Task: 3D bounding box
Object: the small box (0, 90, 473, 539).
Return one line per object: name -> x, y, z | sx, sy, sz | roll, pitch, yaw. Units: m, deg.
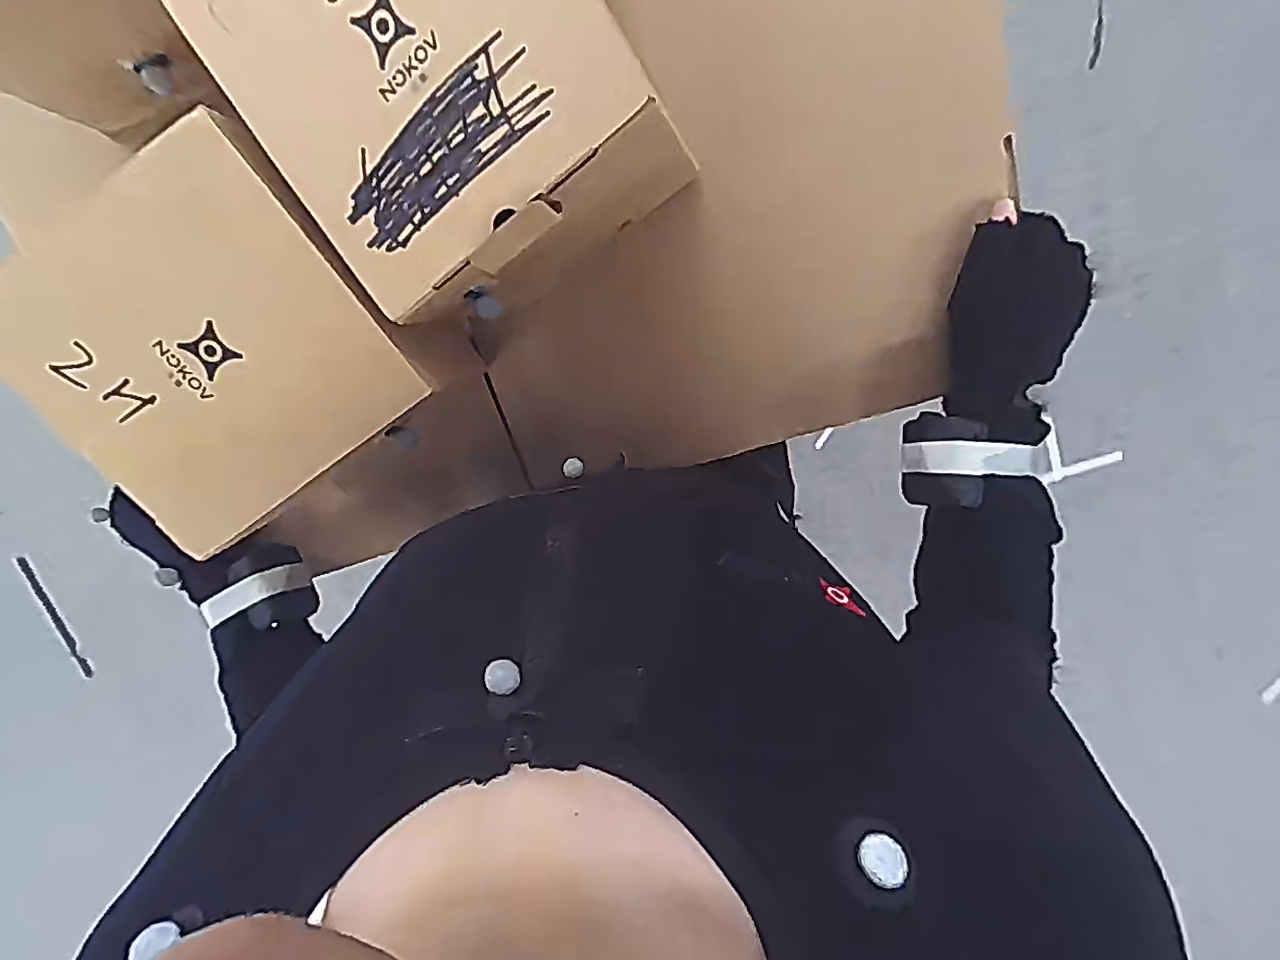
small box -> -0.232, -0.097, 0.359 | 0.179, 0.176, 0.168 | -34, 105, 5
